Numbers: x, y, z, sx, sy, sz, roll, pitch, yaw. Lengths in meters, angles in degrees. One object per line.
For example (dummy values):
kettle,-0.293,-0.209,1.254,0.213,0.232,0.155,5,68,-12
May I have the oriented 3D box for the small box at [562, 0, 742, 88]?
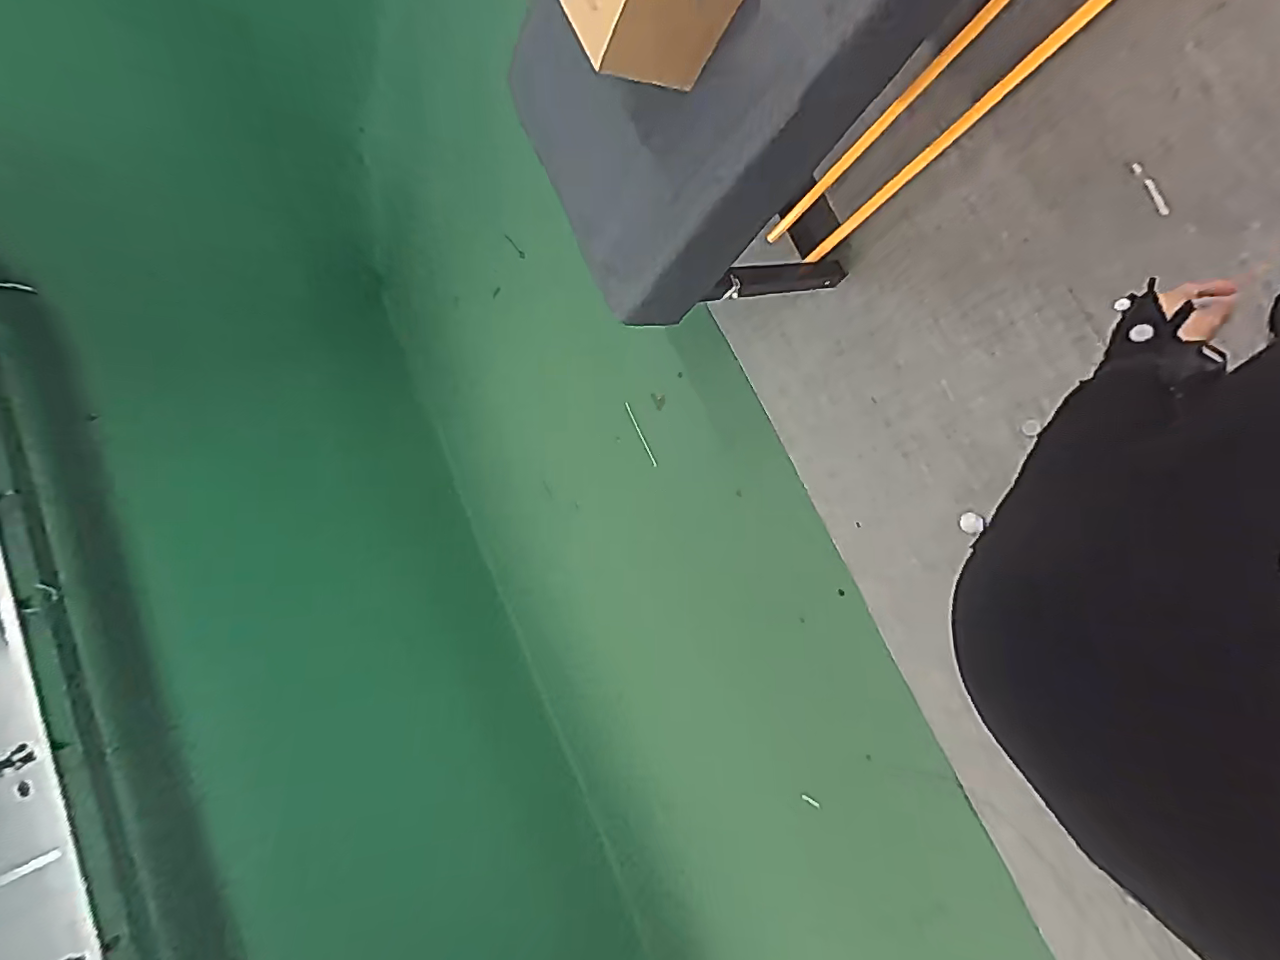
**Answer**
small box,0.019,-0.651,0.691,0.179,0.176,0.168,-39,72,54
